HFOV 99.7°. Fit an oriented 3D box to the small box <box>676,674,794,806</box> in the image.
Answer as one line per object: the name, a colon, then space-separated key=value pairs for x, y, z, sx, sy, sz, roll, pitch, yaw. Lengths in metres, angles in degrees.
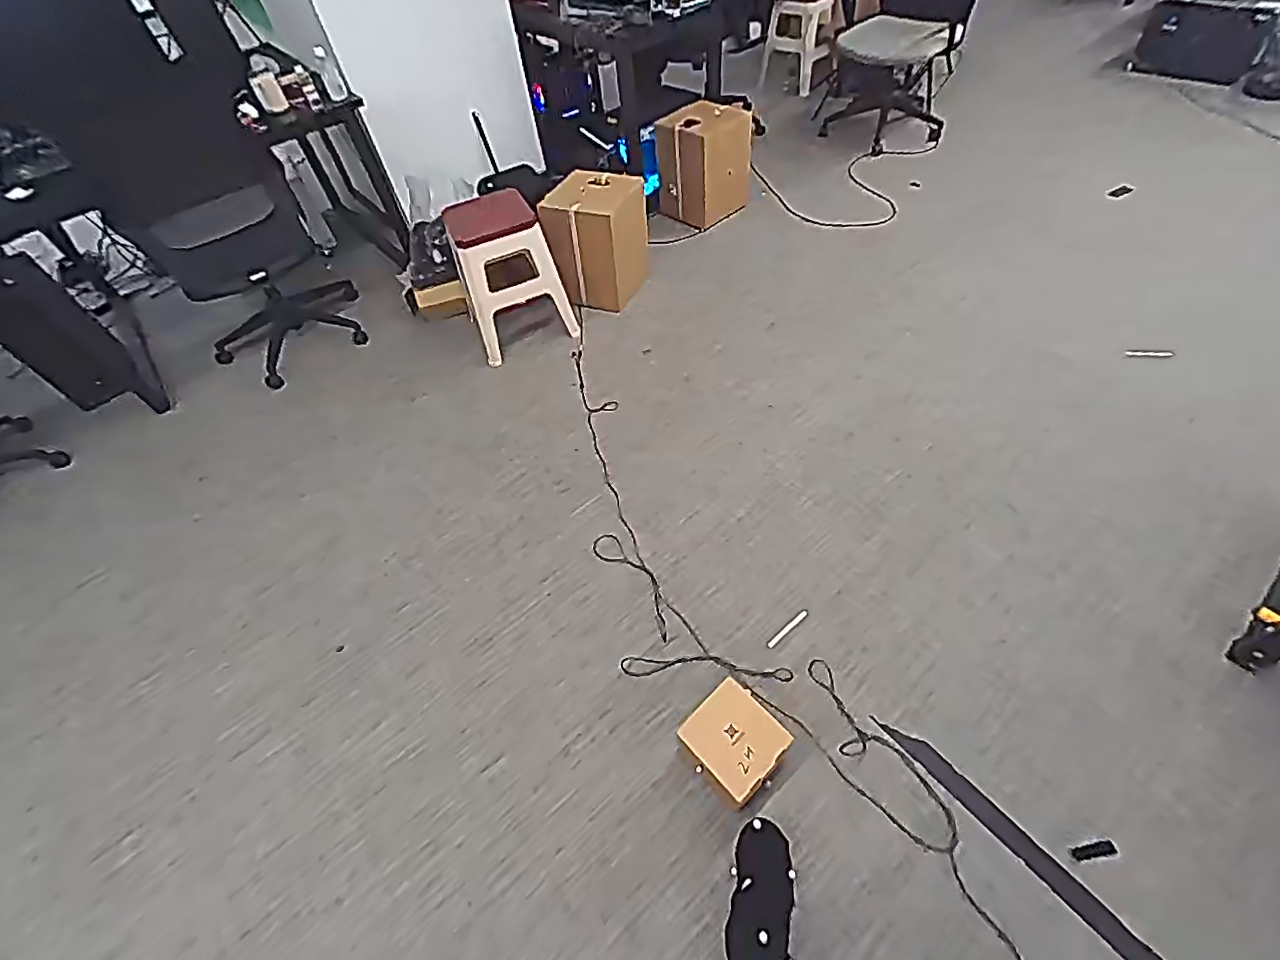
small box: x=0.195 y=0.552 z=1.140 sx=0.168 sy=0.176 sz=0.179 roll=-39 pitch=58 yaw=-20
